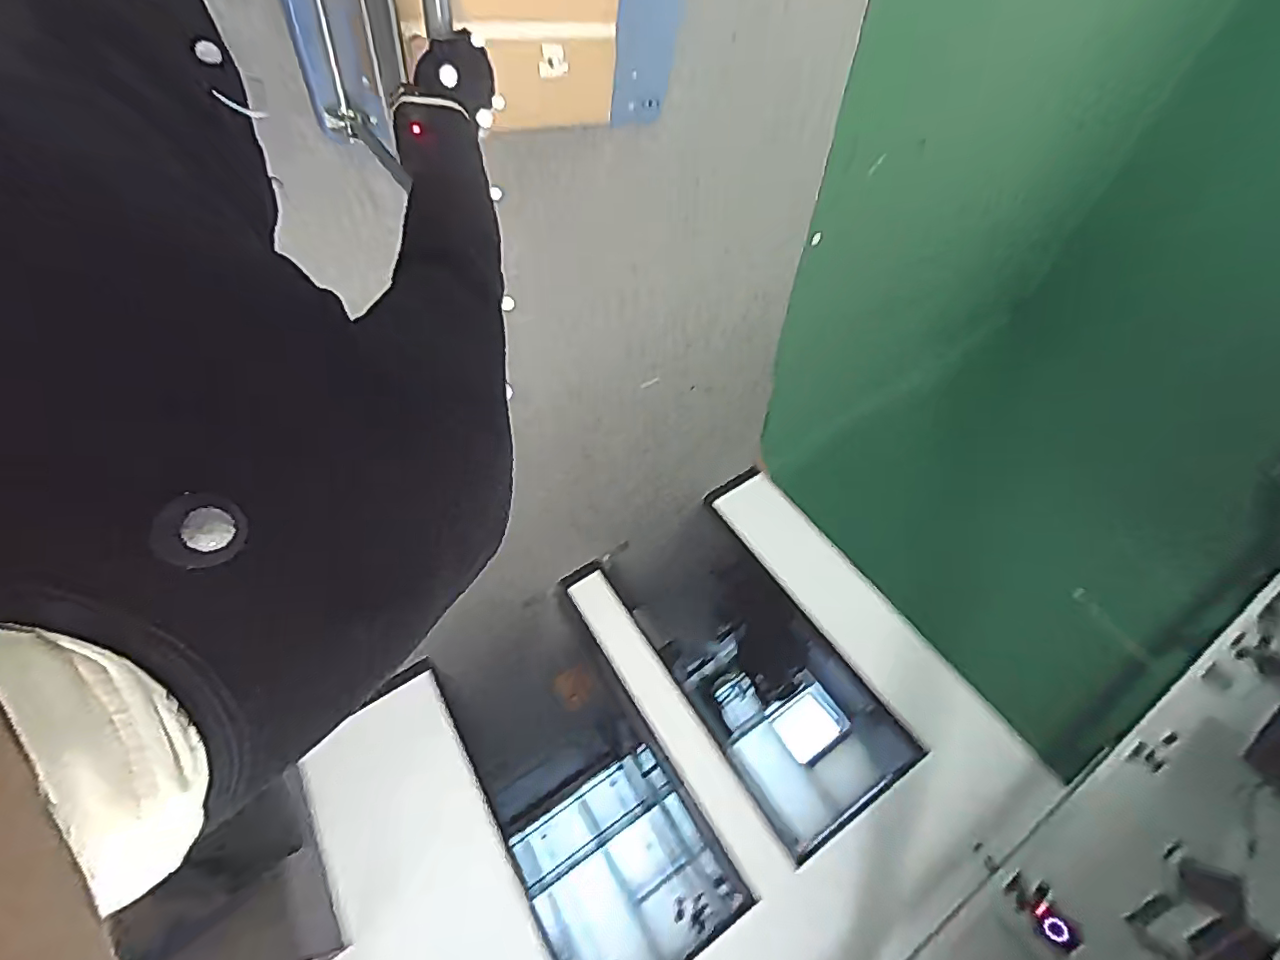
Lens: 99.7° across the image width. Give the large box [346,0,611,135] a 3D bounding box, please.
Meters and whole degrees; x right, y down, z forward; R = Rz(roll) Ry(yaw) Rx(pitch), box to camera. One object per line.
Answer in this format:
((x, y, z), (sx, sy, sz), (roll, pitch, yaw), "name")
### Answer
((-0.305, -0.884, 0.998), (0.408, 0.320, 0.320), (-24, 149, -26), "large box")
